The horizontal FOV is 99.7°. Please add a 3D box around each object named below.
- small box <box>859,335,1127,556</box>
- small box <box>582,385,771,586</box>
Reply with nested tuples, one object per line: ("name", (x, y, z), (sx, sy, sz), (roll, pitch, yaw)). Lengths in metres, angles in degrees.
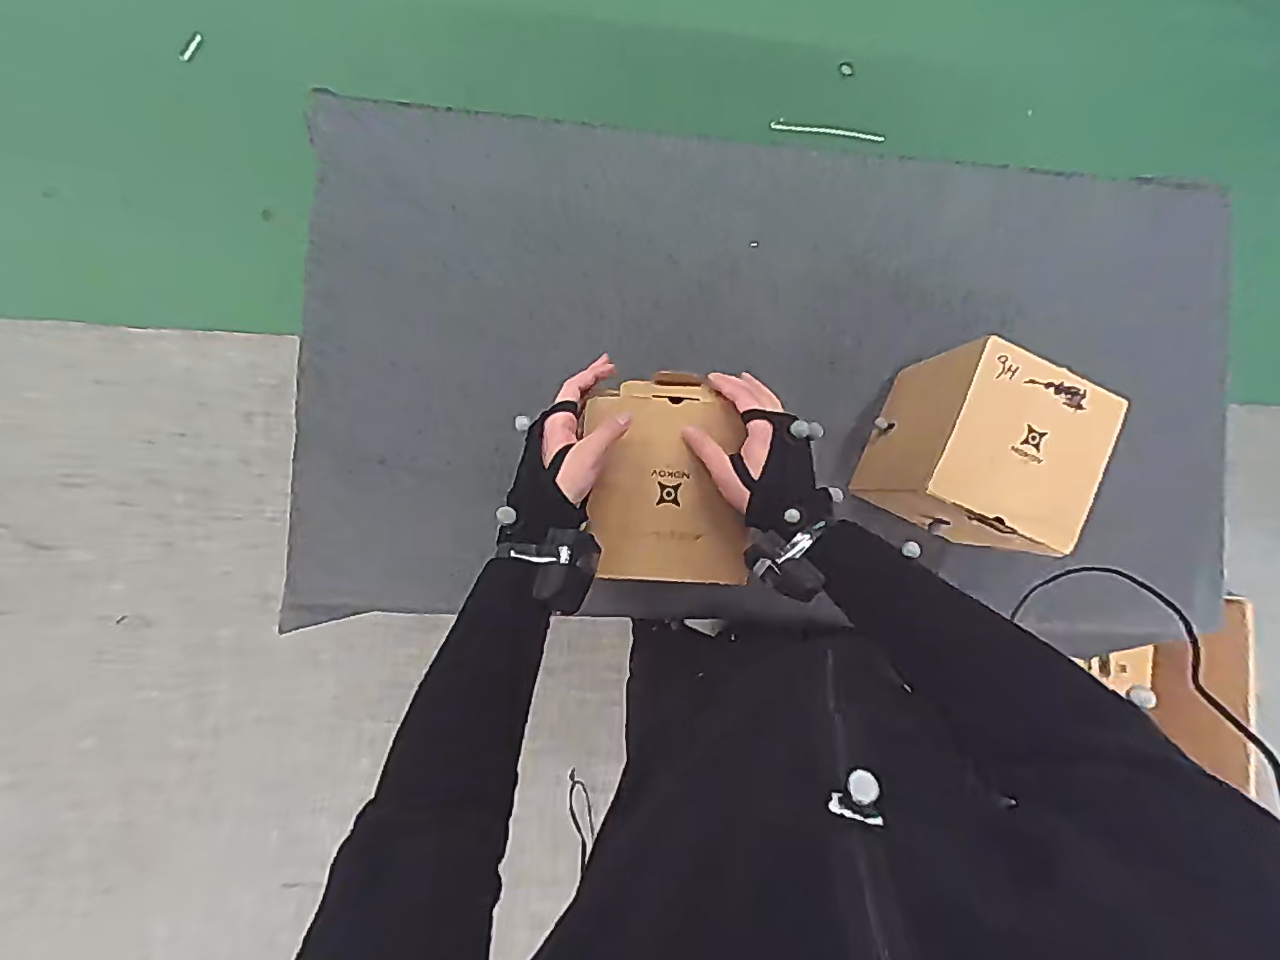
("small box", (0.383, -0.034, 0.624), (0.168, 0.176, 0.179), (26, 88, -3))
("small box", (0.027, 0.003, 0.573), (0.168, 0.176, 0.179), (4, 93, -4))
